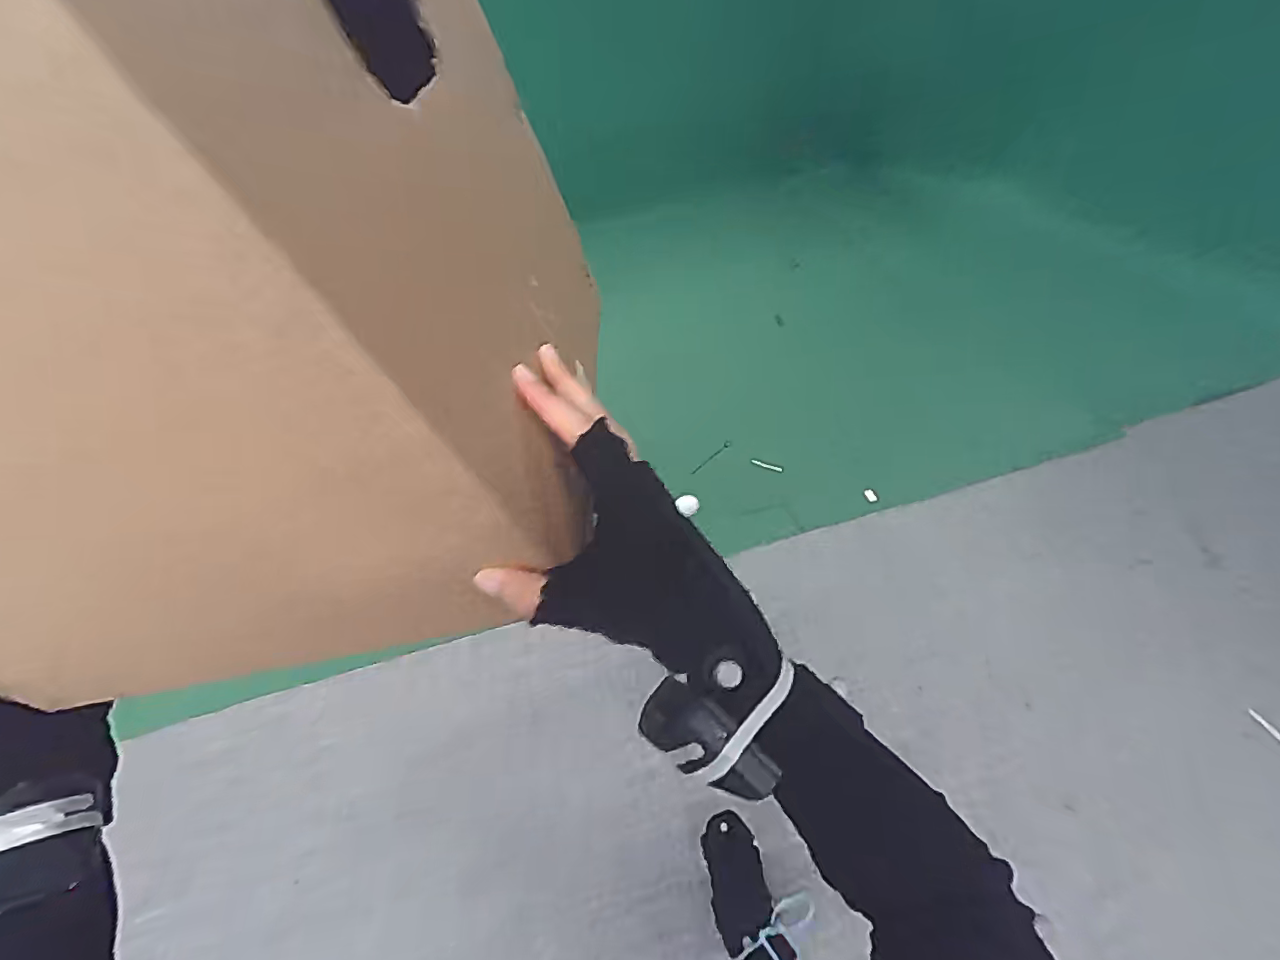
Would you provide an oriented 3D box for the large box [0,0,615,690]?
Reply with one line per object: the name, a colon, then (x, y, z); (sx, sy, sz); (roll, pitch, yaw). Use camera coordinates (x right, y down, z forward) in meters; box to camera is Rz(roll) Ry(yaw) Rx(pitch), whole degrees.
large box: (-0.252, -0.104, 0.328); (0.408, 0.320, 0.320); (-13, 48, 11)
